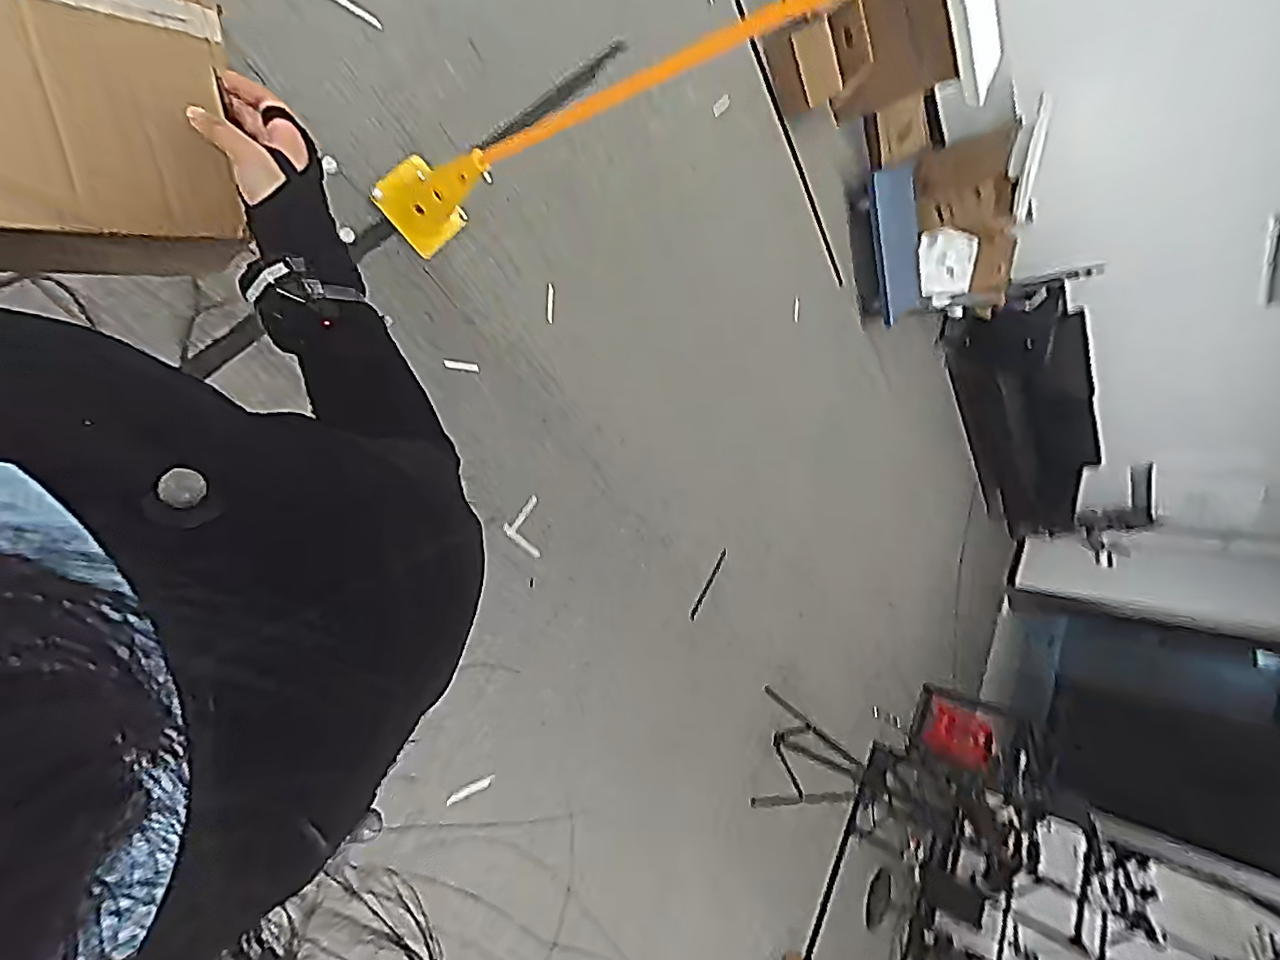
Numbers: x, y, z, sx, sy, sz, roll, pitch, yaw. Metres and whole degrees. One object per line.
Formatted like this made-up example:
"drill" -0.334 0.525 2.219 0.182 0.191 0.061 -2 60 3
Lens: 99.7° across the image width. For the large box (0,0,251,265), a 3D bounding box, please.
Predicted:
"large box" -0.590 -0.349 0.418 0.408 0.320 0.320 -14 109 -39
